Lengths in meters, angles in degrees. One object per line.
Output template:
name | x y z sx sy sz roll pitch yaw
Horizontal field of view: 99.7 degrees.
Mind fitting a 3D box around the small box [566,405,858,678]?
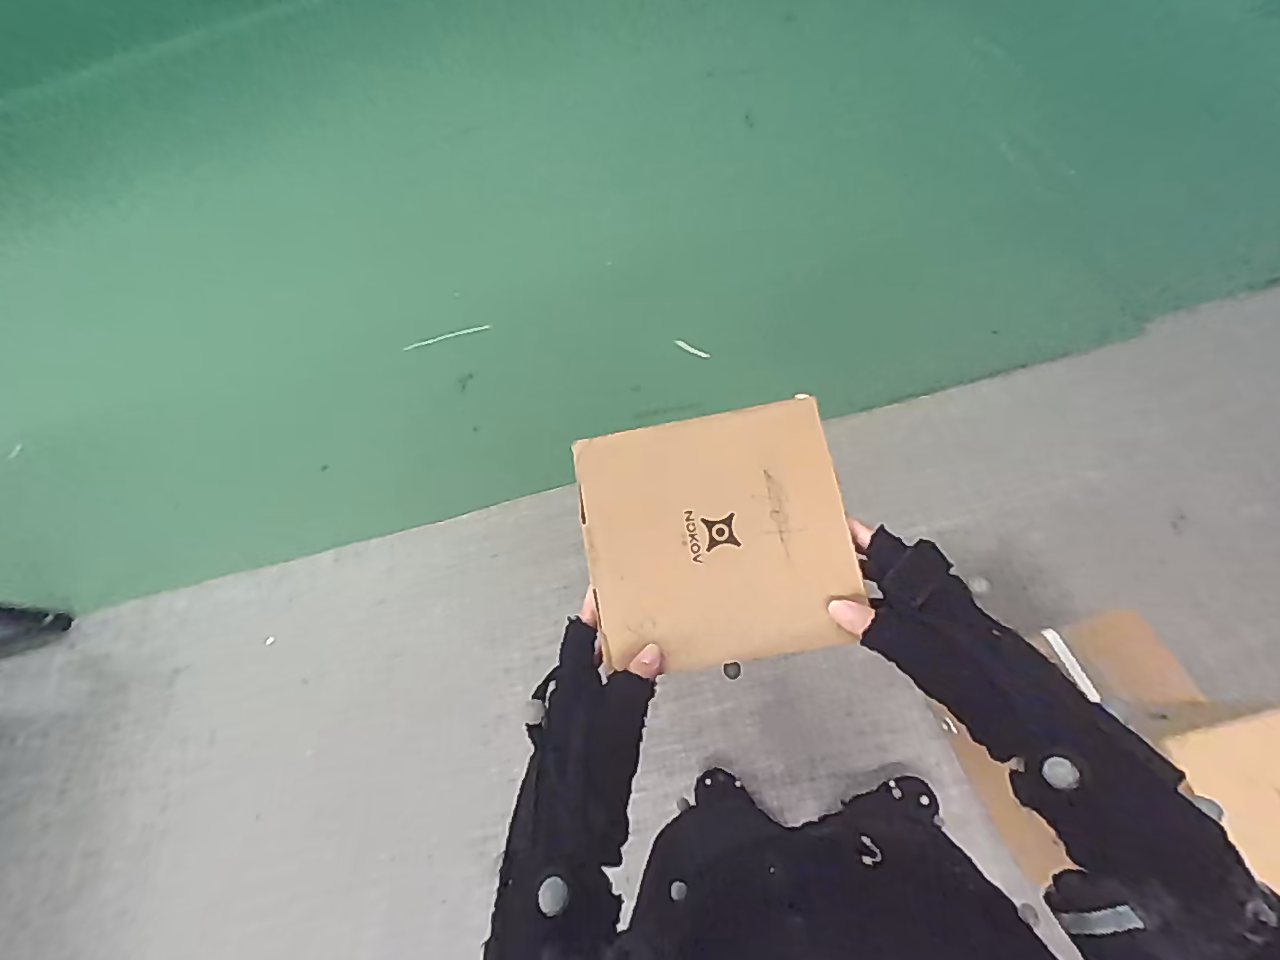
small box | 0.051 0.058 0.453 0.179 0.176 0.168 -12 77 0

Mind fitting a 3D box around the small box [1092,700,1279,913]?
small box | 0.686 0.366 0.632 0.179 0.176 0.168 -17 64 4
